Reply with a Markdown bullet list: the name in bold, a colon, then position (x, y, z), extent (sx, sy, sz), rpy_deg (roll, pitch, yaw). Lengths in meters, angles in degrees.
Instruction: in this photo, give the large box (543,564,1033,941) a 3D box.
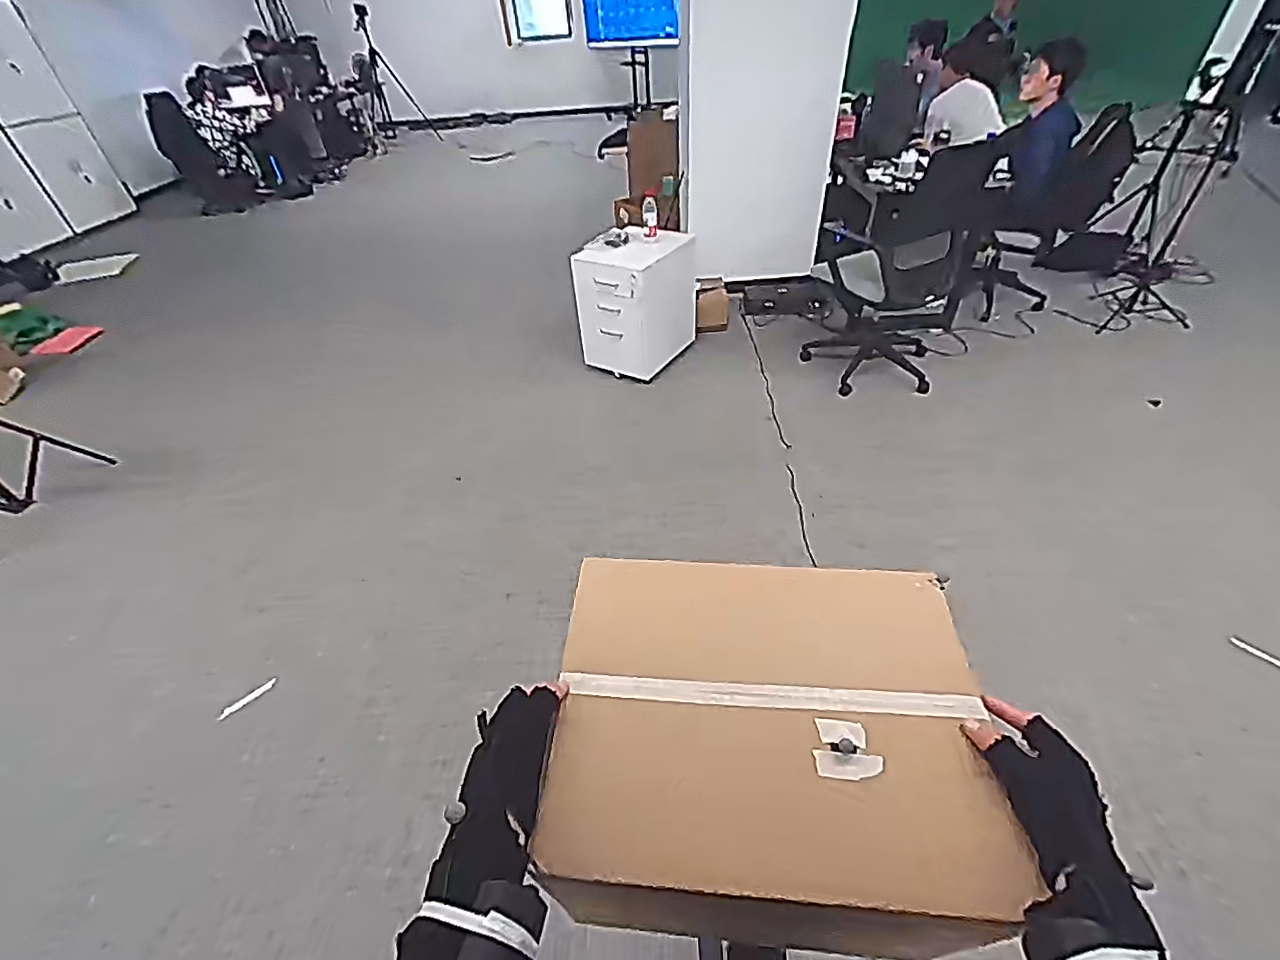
- **large box**: position (0.129, 0.320, 0.646), extent (0.408, 0.320, 0.320), rpy_deg (2, 46, 5)
